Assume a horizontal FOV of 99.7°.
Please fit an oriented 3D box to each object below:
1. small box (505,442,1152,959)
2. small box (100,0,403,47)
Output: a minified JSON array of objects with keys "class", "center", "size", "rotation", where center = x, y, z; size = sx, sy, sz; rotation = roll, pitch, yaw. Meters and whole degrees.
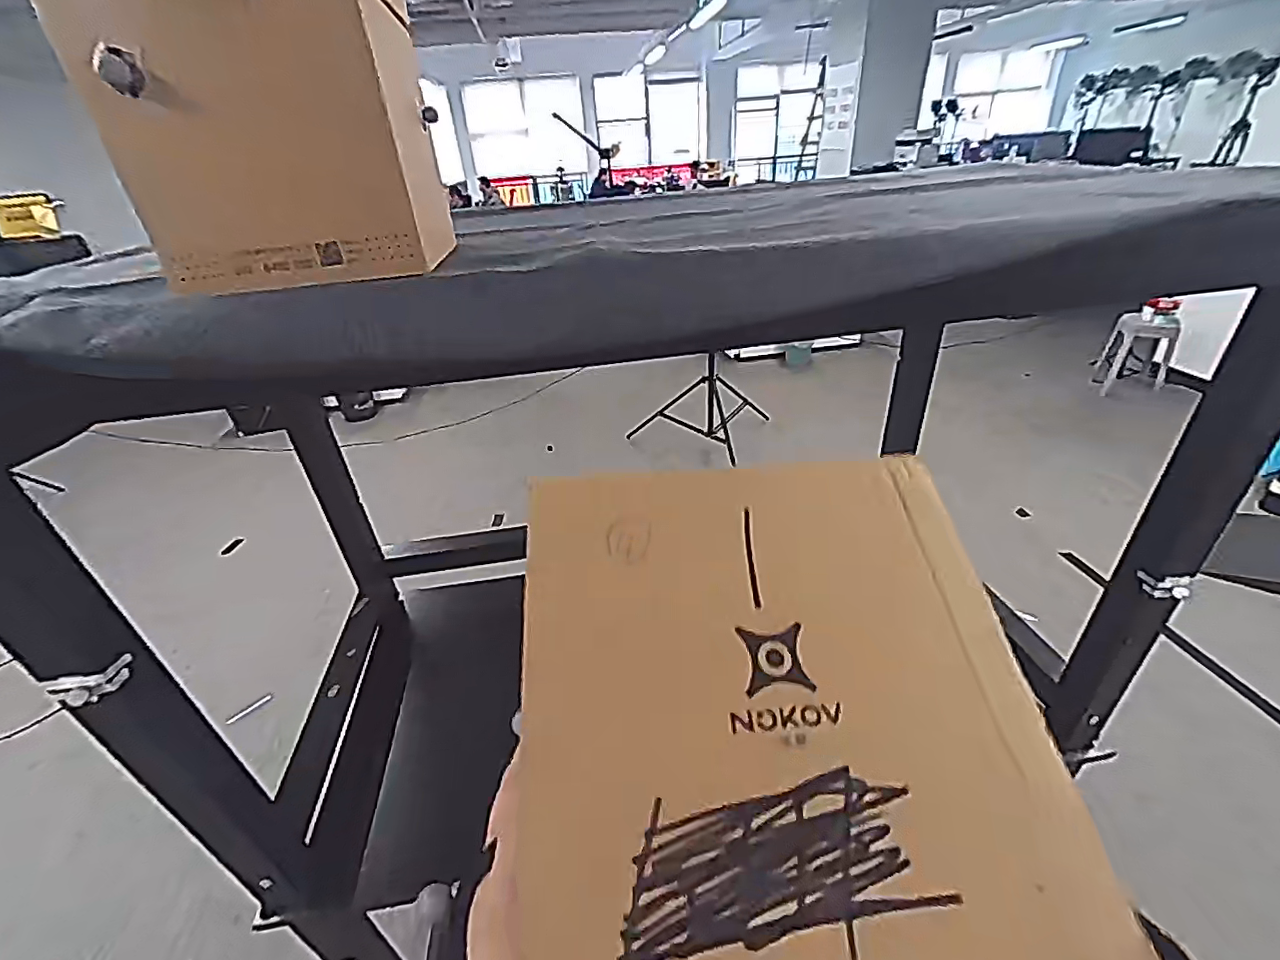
[{"class":"small box","center":[0.042,0.105,0.242],"size":[0.168,0.176,0.179],"rotation":[-3,56,-3]},{"class":"small box","center":[-0.259,-0.383,0.318],"size":[0.168,0.176,0.179],"rotation":[-8,30,-6]}]
